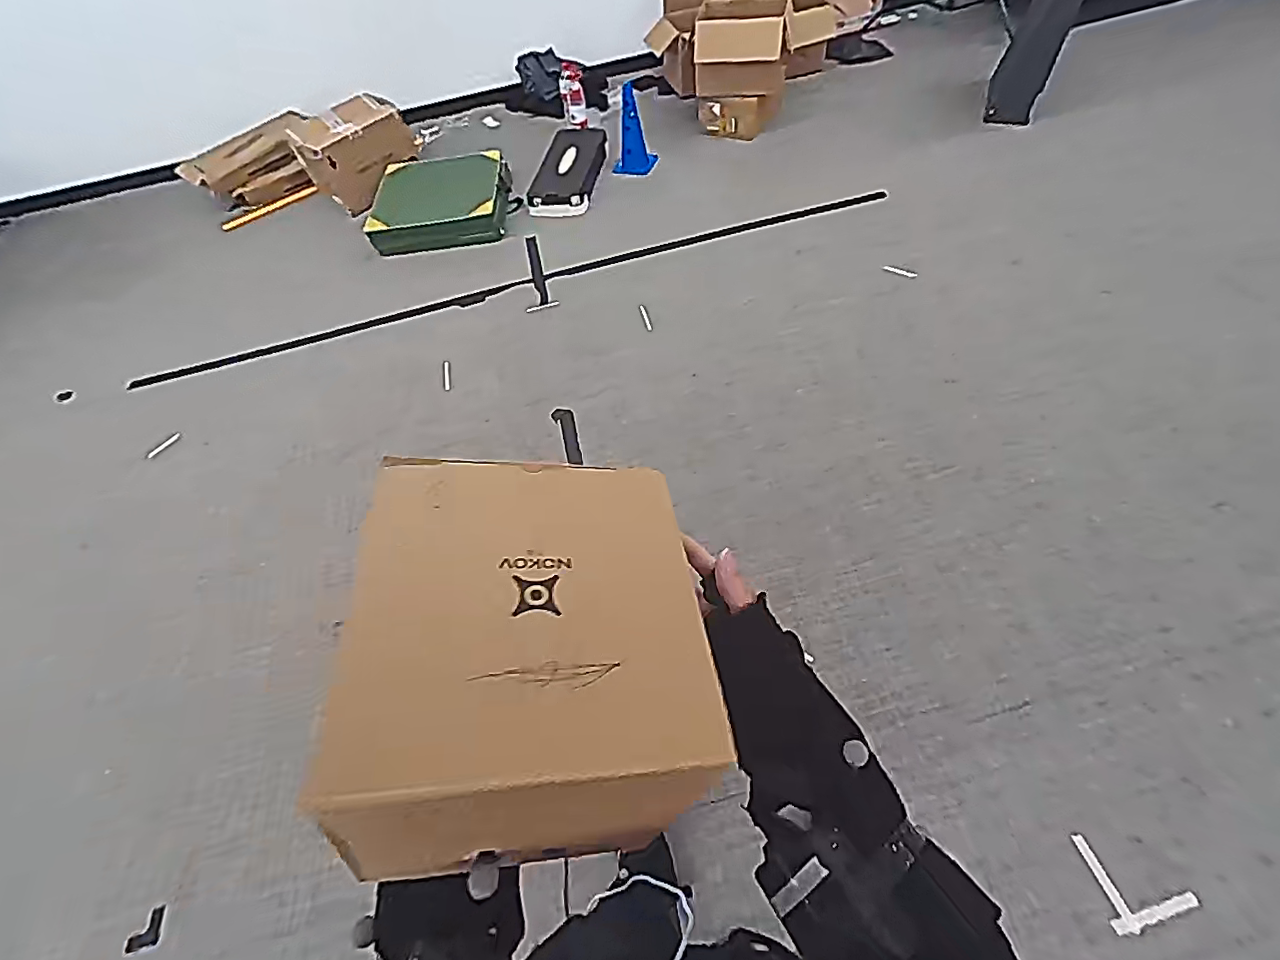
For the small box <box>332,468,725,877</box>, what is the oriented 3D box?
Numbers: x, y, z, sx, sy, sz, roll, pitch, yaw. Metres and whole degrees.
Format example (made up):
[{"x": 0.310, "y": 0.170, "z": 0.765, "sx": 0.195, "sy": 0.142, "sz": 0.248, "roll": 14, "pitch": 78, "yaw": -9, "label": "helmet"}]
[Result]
[{"x": -0.070, "y": 0.115, "z": 0.335, "sx": 0.168, "sy": 0.176, "sz": 0.179, "roll": 3, "pitch": 45, "yaw": -15, "label": "small box"}]
